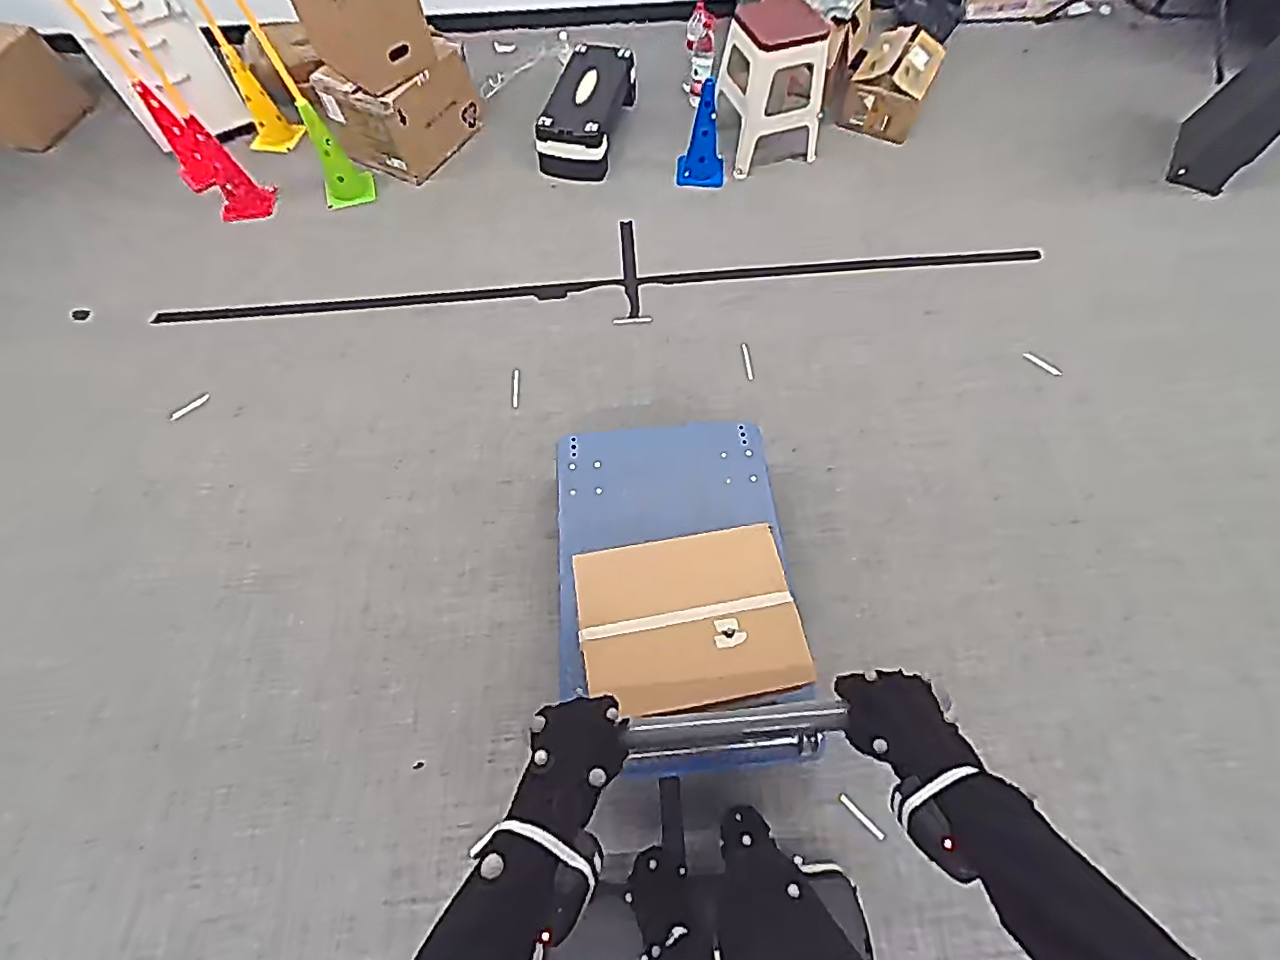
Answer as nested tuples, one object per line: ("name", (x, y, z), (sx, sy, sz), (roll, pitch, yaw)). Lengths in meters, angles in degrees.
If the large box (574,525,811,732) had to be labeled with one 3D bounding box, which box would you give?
("large box", (0.089, 0.329, 1.163), (0.408, 0.320, 0.320), (-9, 63, -5))
